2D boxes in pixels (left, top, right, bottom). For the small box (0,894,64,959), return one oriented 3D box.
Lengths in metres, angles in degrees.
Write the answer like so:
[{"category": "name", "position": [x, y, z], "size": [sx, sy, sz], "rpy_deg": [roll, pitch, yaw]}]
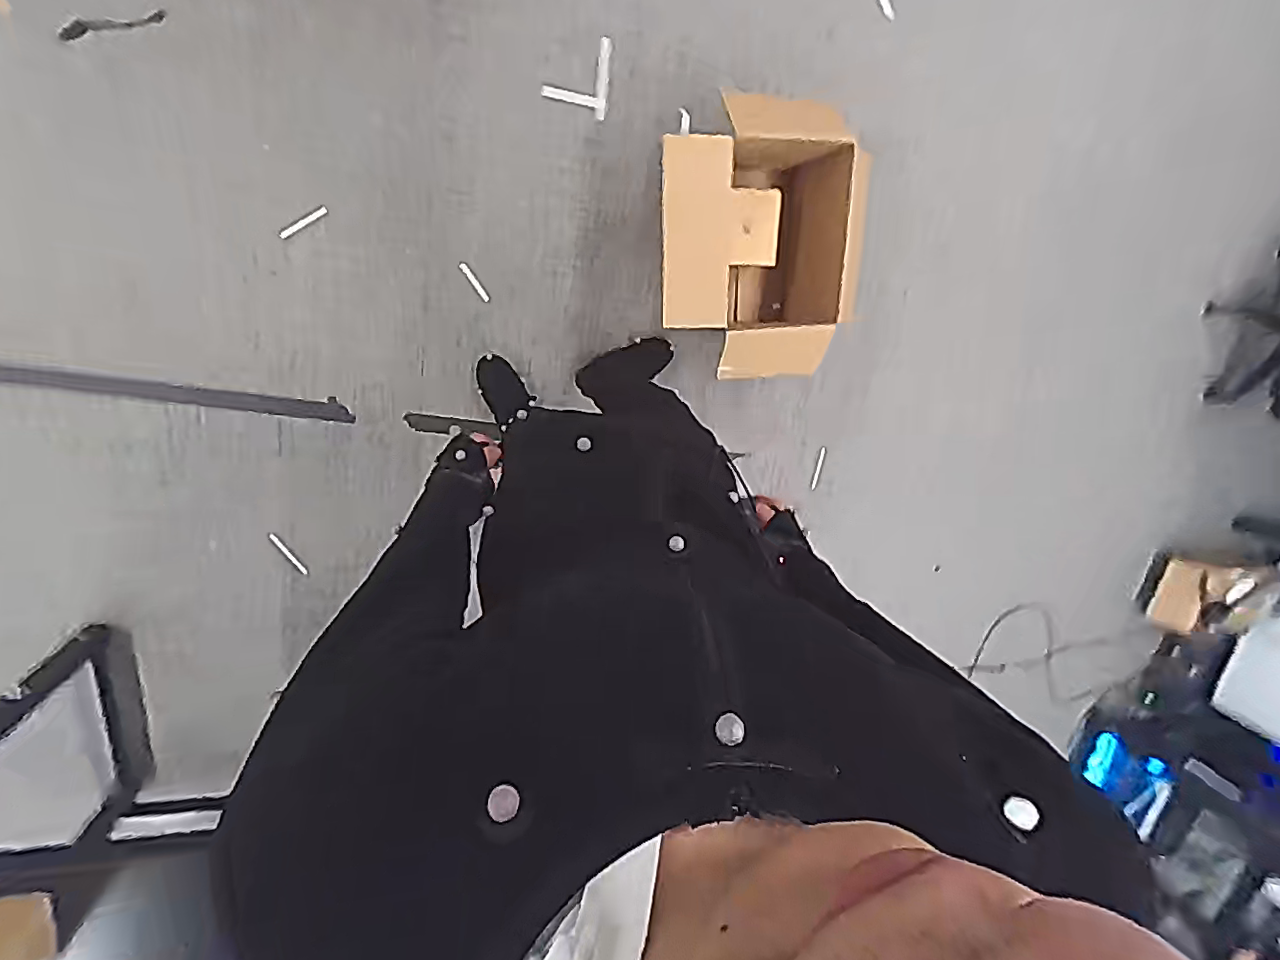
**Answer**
[{"category": "small box", "position": [-1.004, 0.746, 0.780], "size": [0.179, 0.176, 0.168], "rpy_deg": [6, 107, -18]}]
